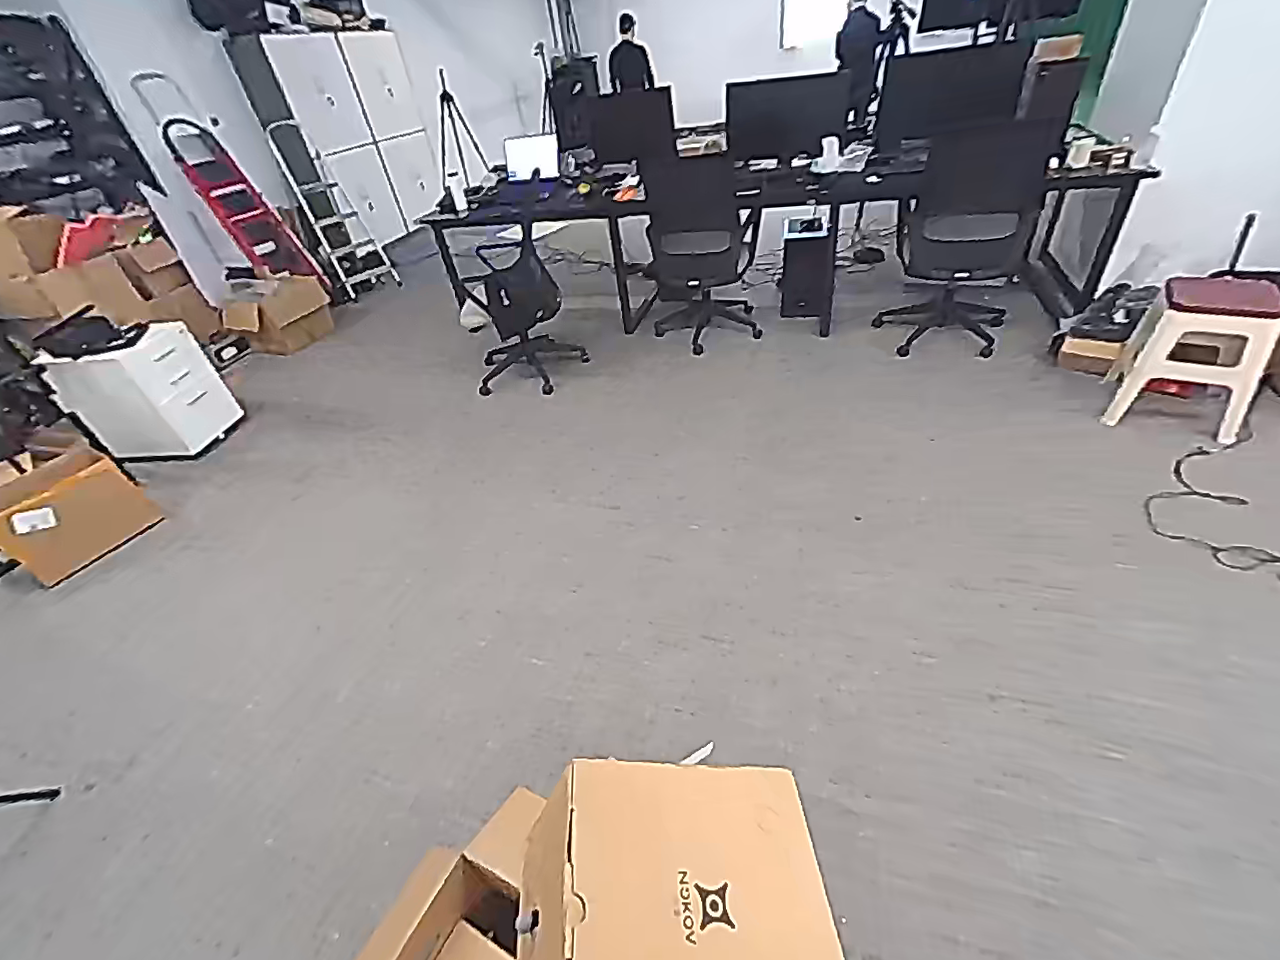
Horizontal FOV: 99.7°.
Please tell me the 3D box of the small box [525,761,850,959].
[{"bbox_3d":[0.021,0.321,0.382,0.179,0.176,0.168,11,39,-15],"label":"small box"}]
